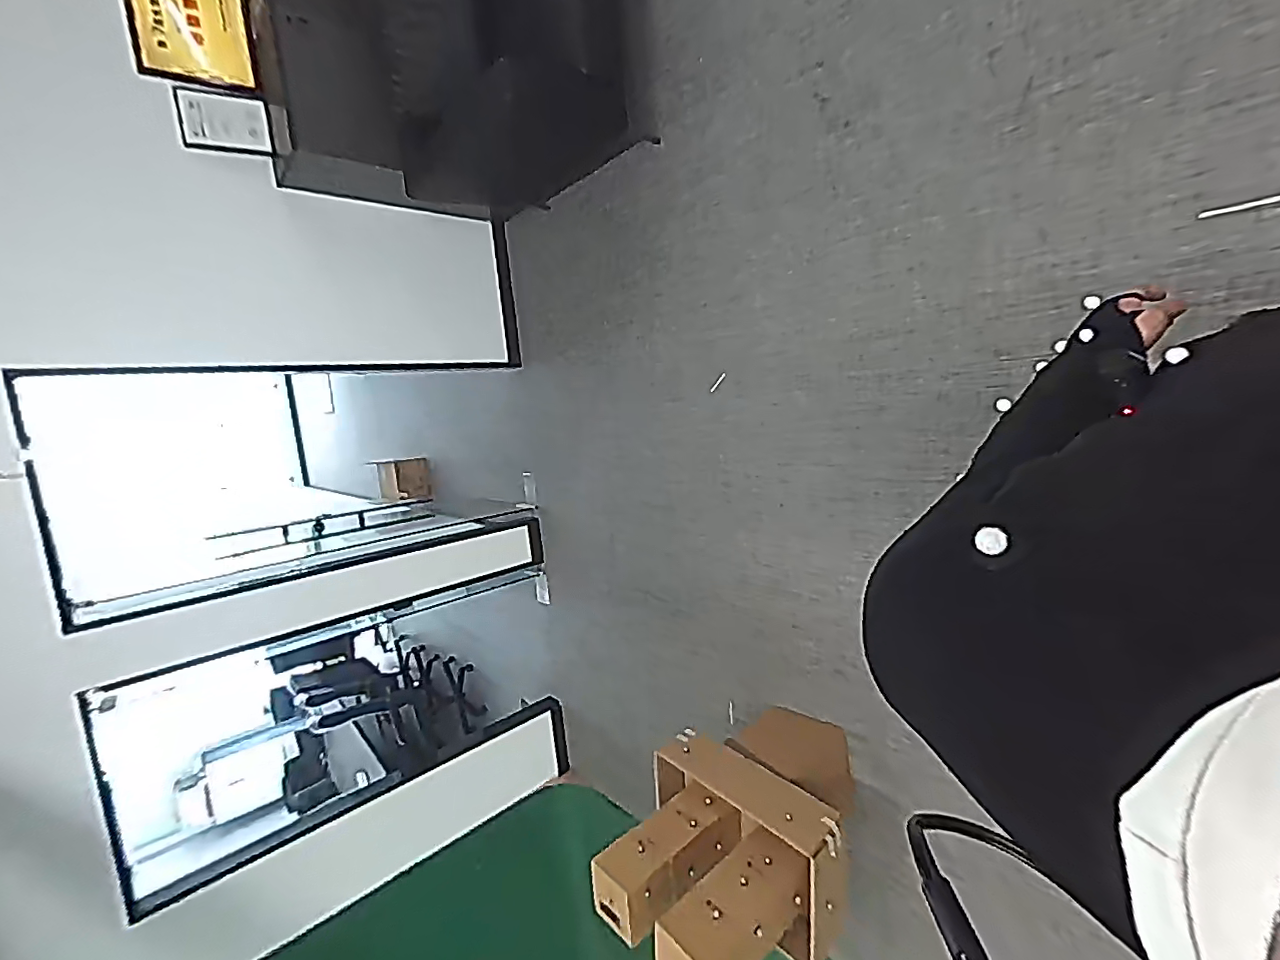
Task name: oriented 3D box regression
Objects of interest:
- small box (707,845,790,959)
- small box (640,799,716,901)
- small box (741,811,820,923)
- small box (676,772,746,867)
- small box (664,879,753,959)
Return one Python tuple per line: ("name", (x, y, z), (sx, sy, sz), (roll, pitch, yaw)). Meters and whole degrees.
("small box", (0.300, 1.170, 1.499), (0.168, 0.176, 0.179), (12, 108, 48))
("small box", (0.122, 1.154, 1.701), (0.168, 0.176, 0.179), (5, 104, 47))
("small box", (0.420, 1.145, 1.610), (0.168, 0.176, 0.179), (10, 107, 48))
("small box", (0.240, 1.125, 1.812), (0.168, 0.176, 0.179), (7, 105, 47))
("small box", (0.178, 1.198, 1.395), (0.168, 0.176, 0.179), (12, 108, 46))
